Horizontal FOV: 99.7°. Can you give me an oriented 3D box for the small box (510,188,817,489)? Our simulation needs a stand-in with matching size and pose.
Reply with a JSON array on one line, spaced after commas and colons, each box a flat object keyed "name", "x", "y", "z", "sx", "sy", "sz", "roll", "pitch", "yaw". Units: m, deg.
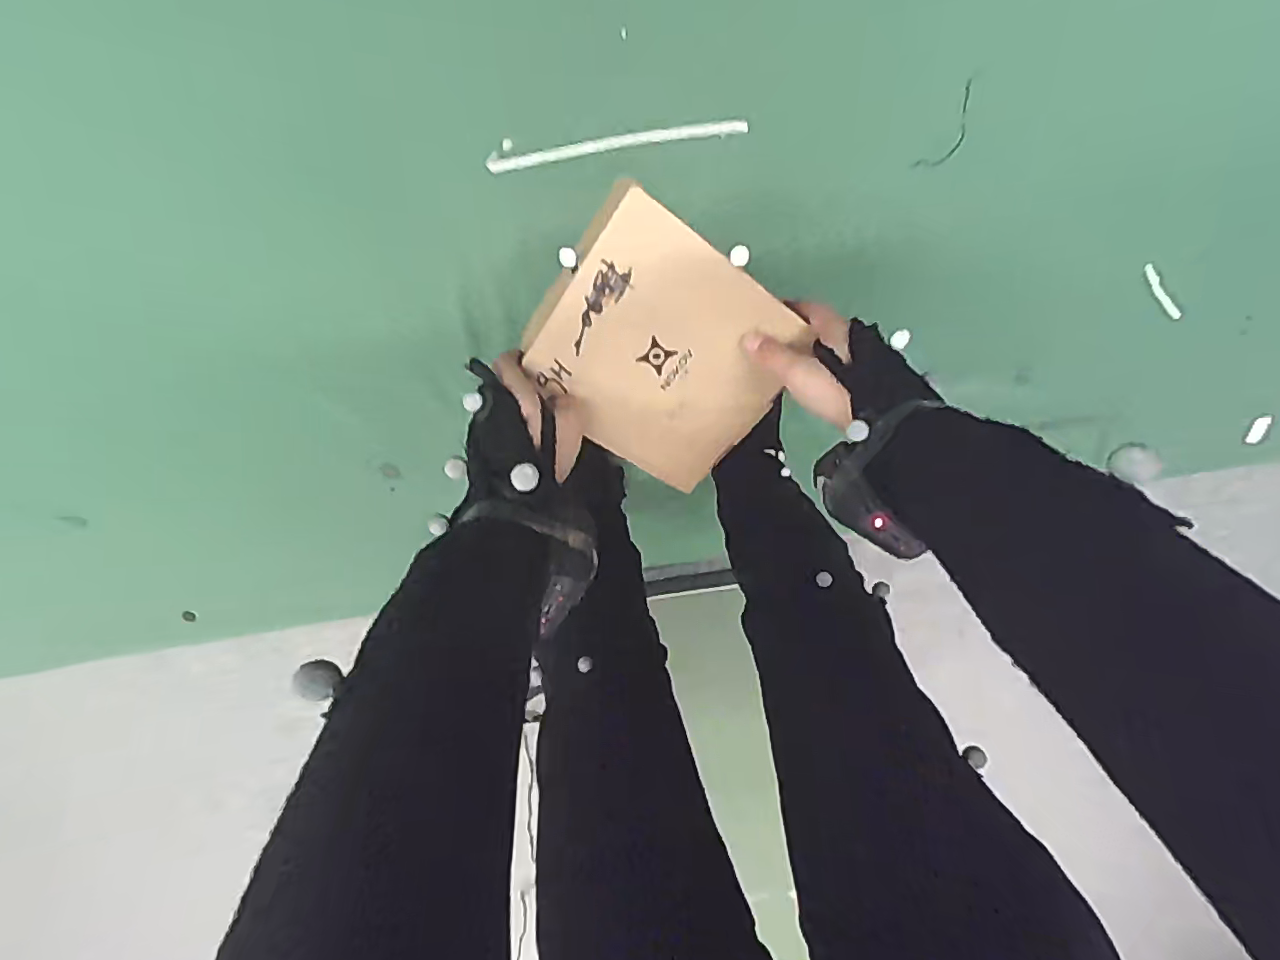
[{"name": "small box", "x": 0.012, "y": -0.129, "z": 0.471, "sx": 0.179, "sy": 0.176, "sz": 0.168, "roll": 30, "pitch": 114, "yaw": -21}]
